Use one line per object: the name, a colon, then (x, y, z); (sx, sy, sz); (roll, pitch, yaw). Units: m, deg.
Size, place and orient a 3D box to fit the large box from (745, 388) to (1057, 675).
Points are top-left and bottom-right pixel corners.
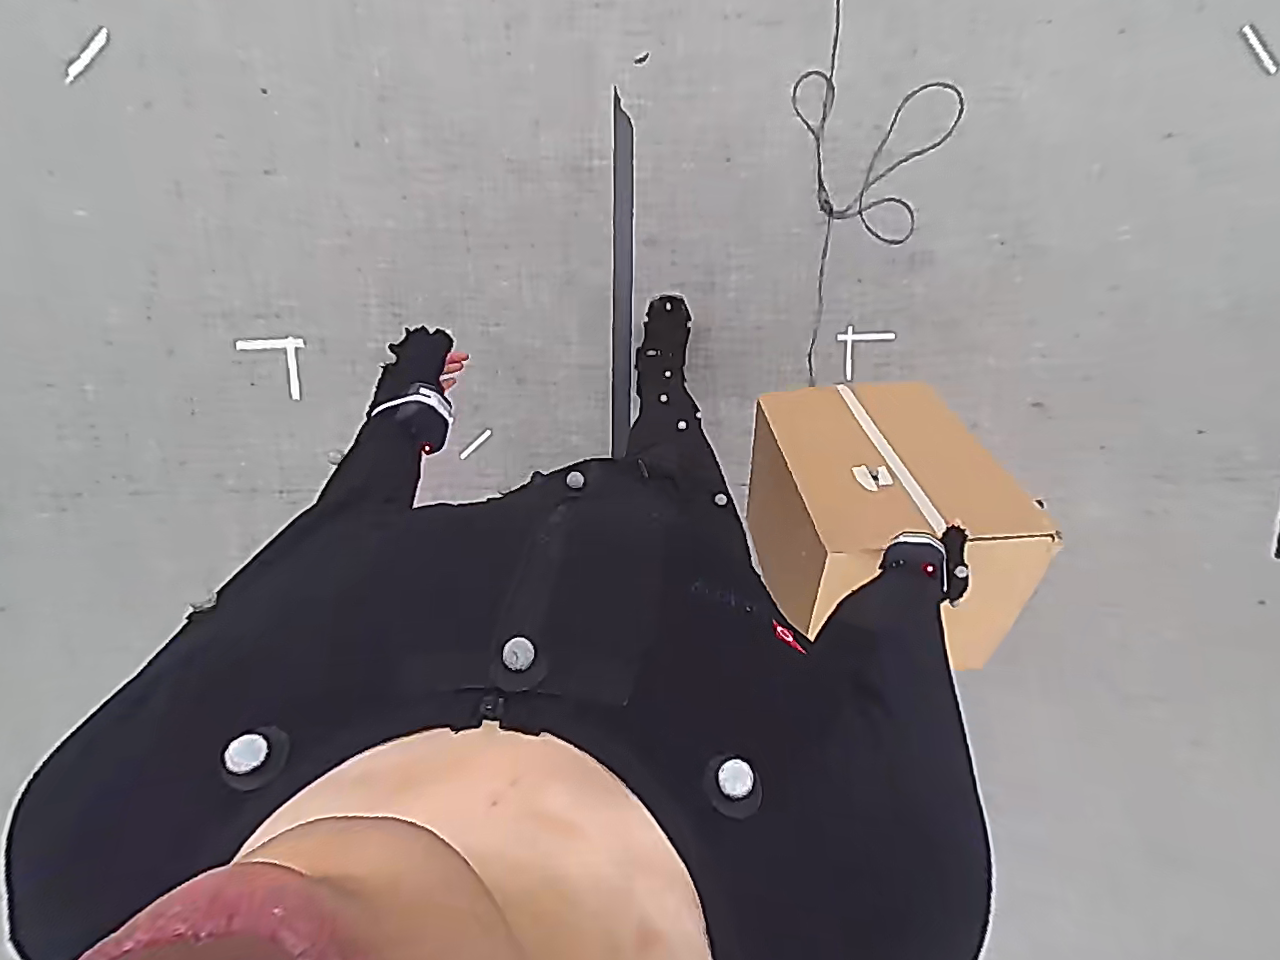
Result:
large box: (0.394, 0.076, 0.960); (0.320, 0.408, 0.320); (-5, 130, -1)
